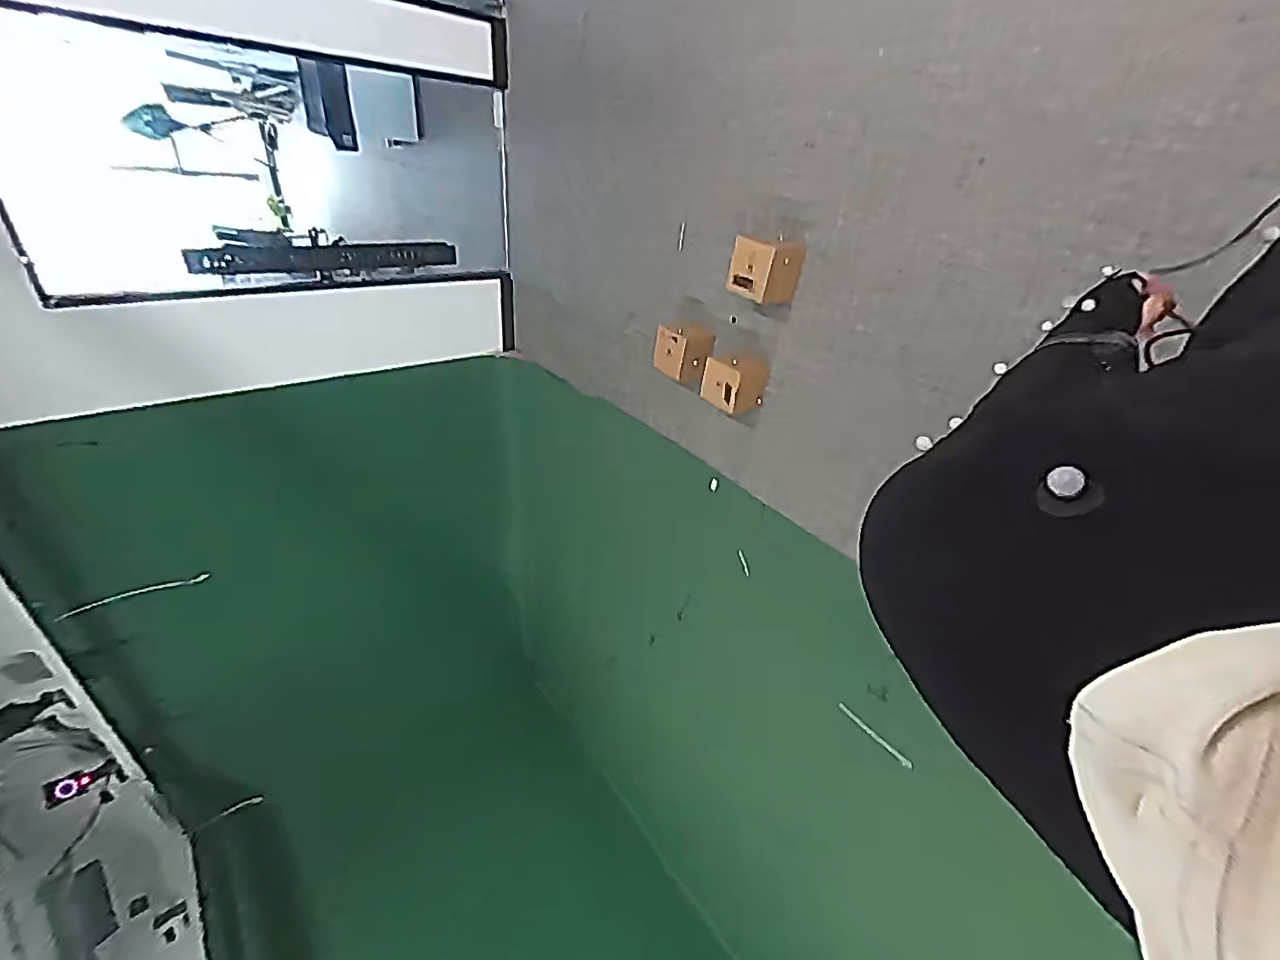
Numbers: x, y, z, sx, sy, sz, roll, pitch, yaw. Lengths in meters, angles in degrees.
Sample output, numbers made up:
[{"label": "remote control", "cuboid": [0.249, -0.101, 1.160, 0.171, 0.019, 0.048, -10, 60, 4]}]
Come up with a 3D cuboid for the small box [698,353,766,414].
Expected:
[{"label": "small box", "cuboid": [0.349, -0.373, 2.045, 0.179, 0.176, 0.168, 38, 133, 37]}]

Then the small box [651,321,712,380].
[{"label": "small box", "cuboid": [0.171, -0.533, 2.208, 0.168, 0.176, 0.179, 40, 135, 36]}]
